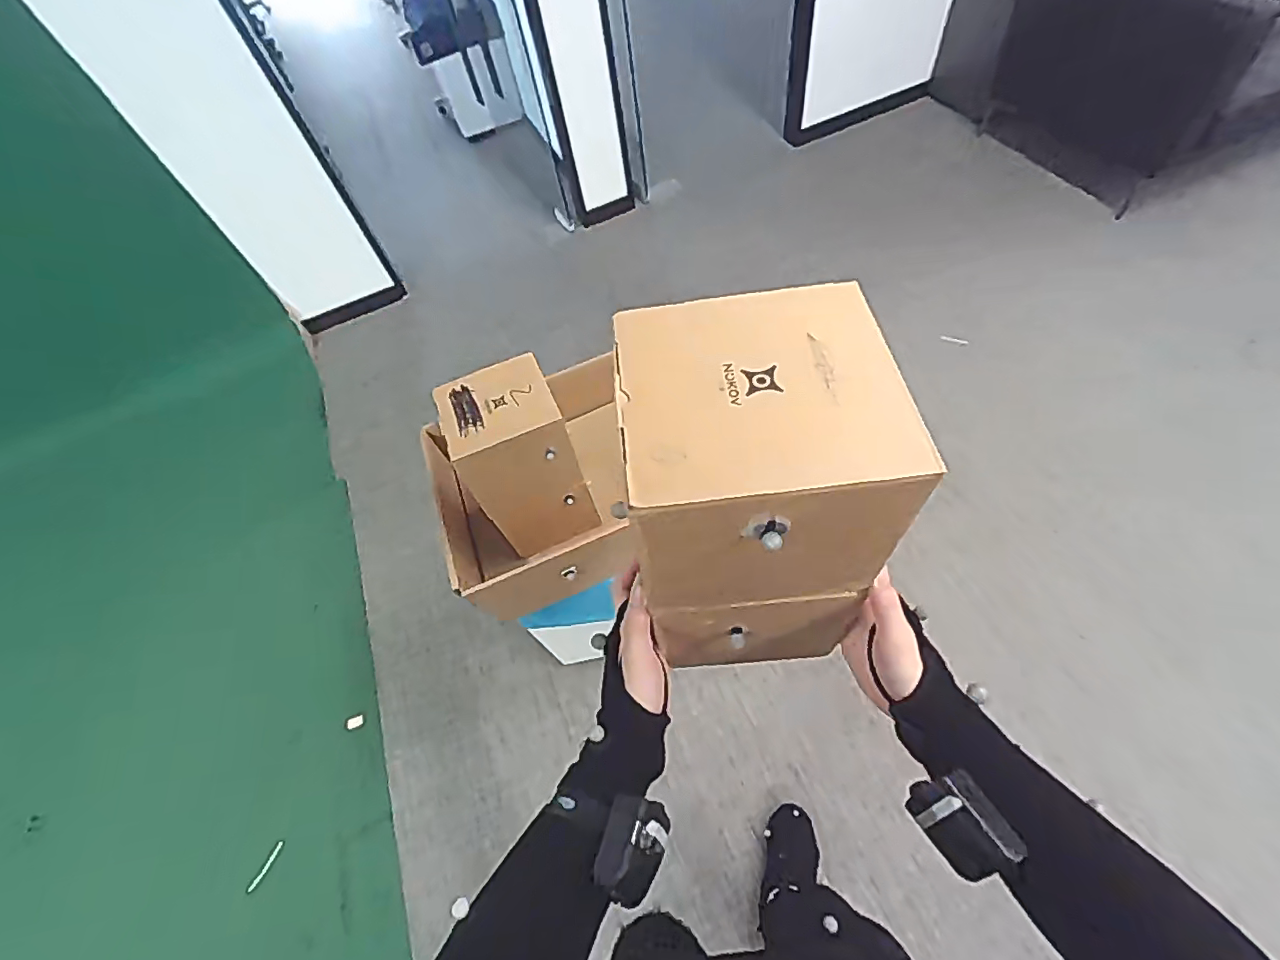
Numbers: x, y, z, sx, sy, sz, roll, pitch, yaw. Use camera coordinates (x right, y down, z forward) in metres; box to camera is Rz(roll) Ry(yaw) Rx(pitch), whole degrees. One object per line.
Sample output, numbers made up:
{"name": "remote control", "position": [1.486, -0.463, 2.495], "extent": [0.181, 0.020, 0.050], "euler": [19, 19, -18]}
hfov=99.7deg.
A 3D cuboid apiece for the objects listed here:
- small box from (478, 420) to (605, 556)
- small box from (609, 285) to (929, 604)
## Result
{"name": "small box", "position": [-0.186, 0.021, 1.042], "extent": [0.179, 0.176, 0.168], "euler": [-23, 56, -7]}
{"name": "small box", "position": [0.078, -0.016, 0.409], "extent": [0.179, 0.176, 0.168], "euler": [-7, 56, 3]}
